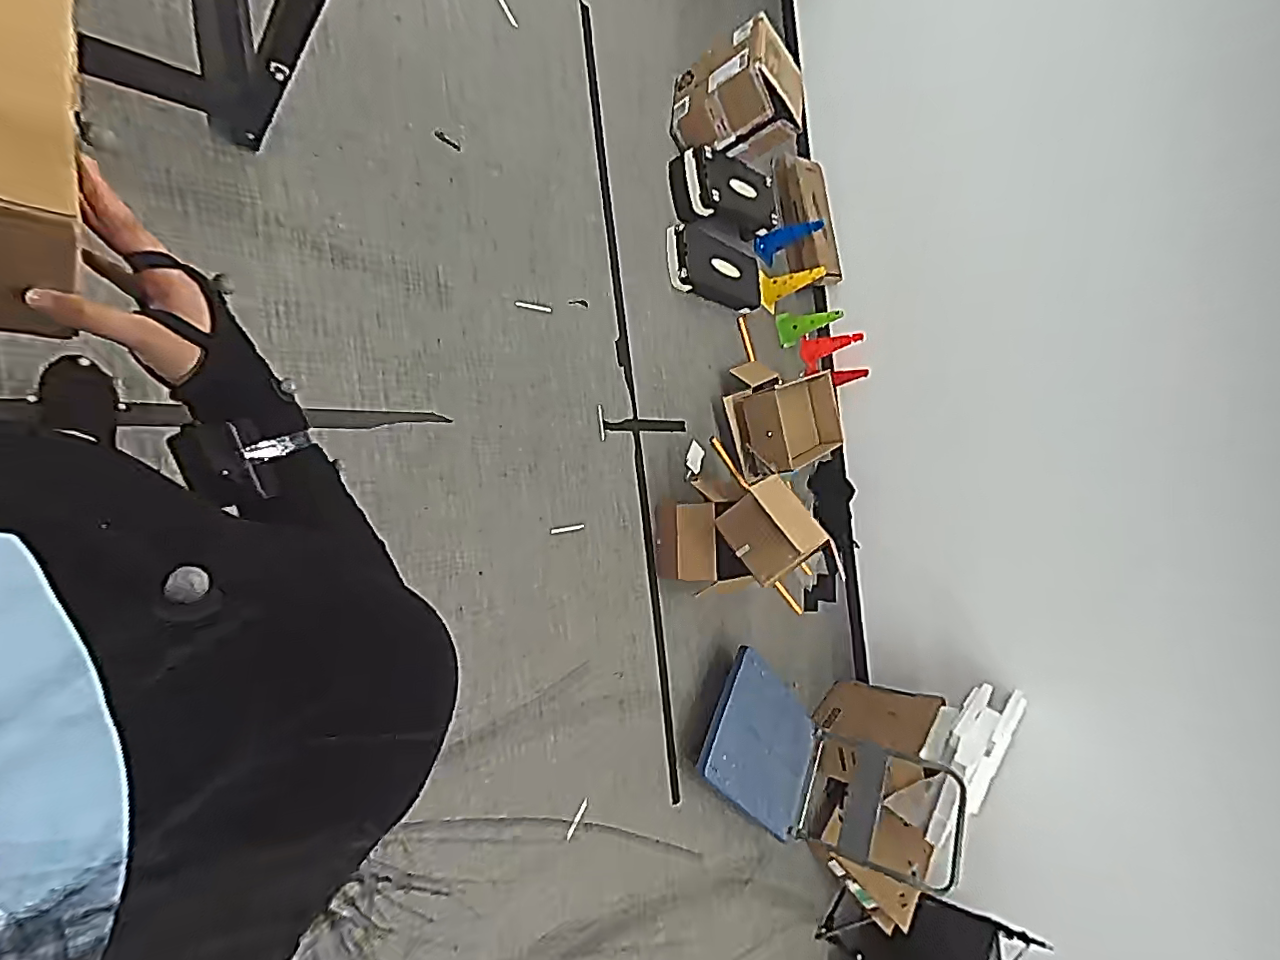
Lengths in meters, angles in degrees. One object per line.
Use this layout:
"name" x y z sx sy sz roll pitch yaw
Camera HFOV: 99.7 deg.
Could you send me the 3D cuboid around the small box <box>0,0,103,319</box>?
"small box" -0.404 -0.211 0.283 0.168 0.176 0.179 -2 81 -47
